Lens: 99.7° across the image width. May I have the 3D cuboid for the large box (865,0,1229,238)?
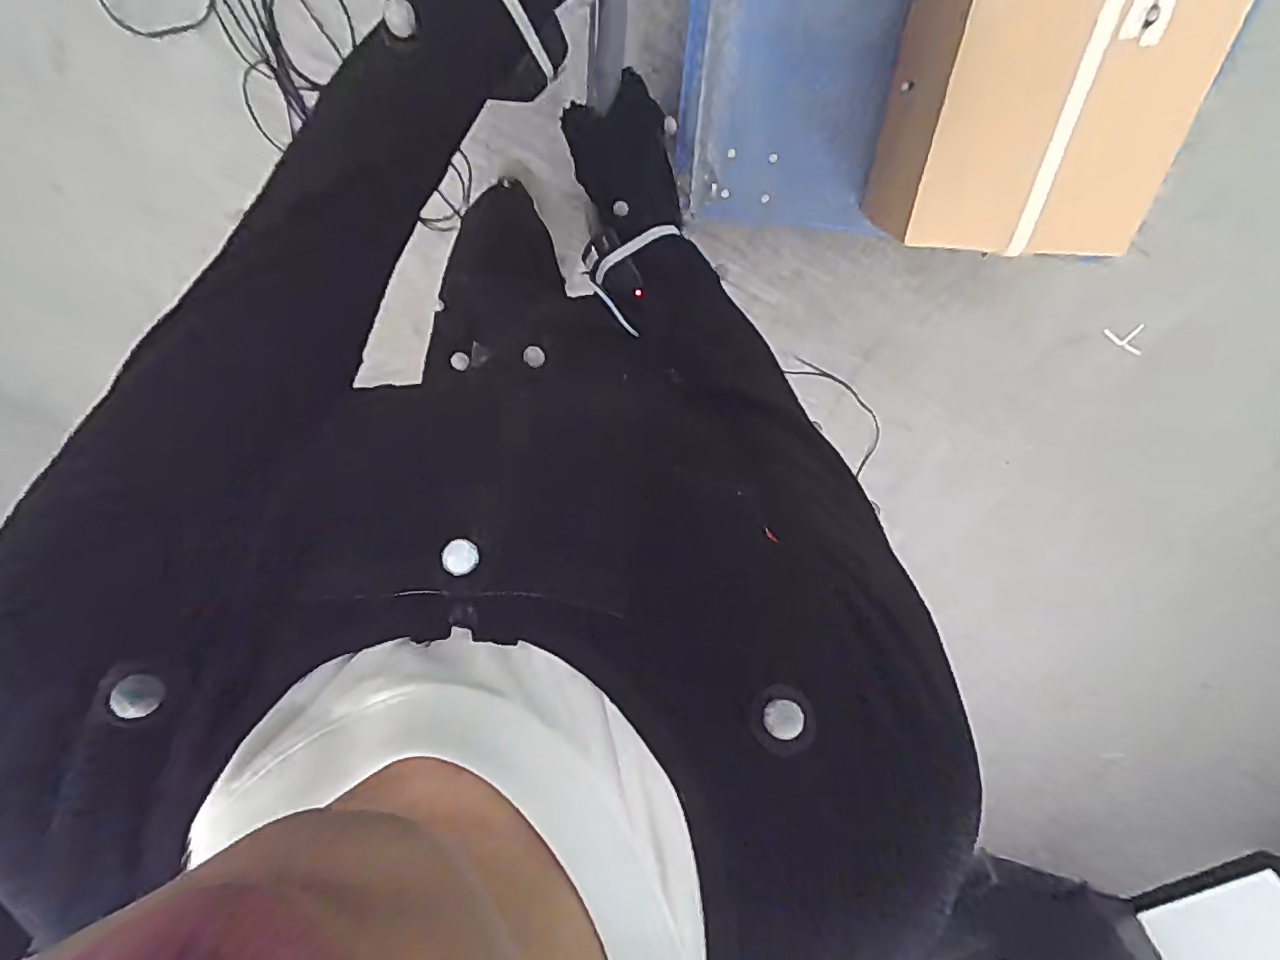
[{"bbox_3d":[0.568,-0.611,0.817,0.320,0.320,0.408,5,125,5],"label":"large box"}]
